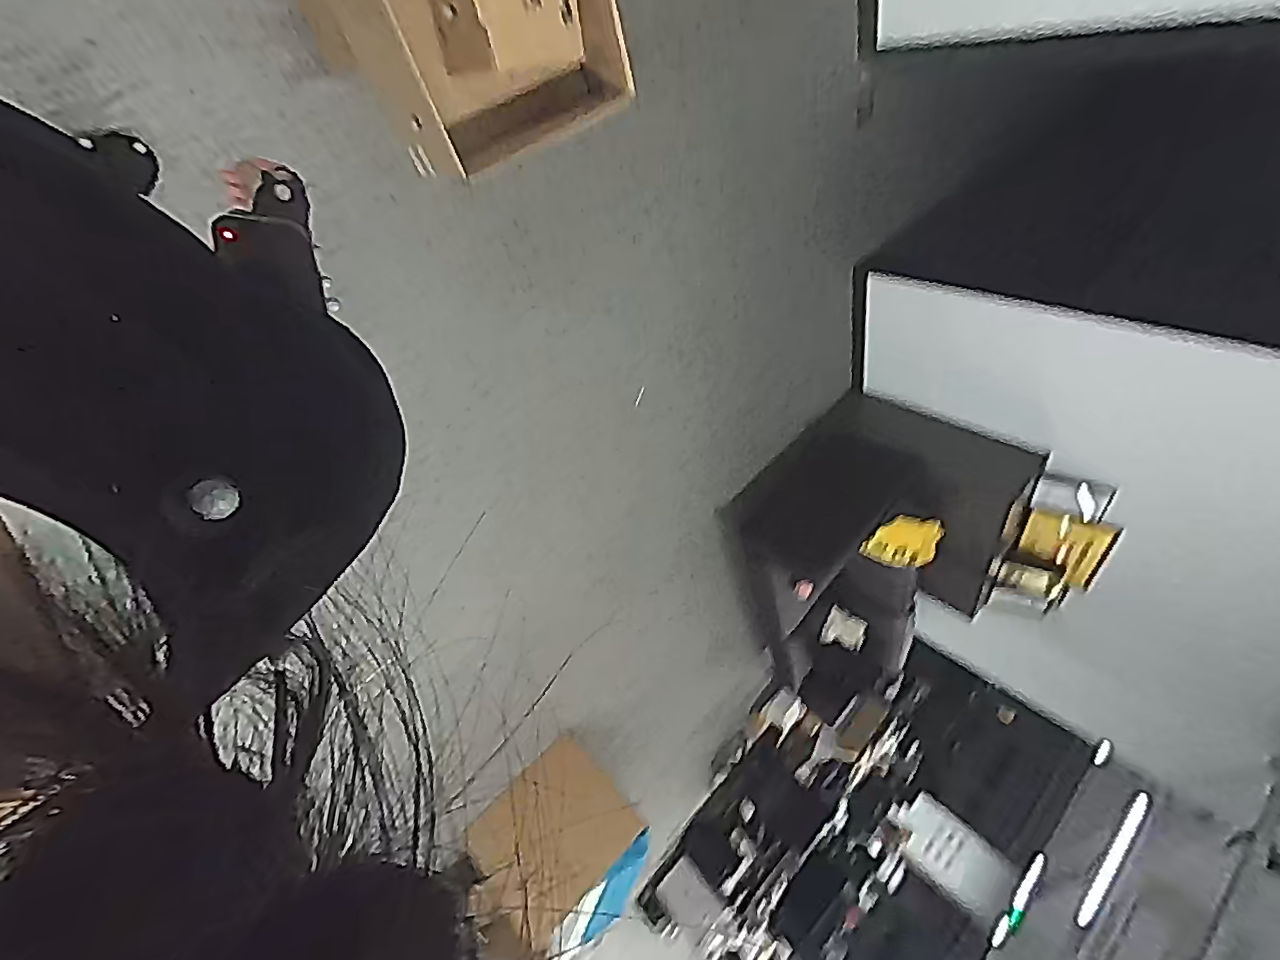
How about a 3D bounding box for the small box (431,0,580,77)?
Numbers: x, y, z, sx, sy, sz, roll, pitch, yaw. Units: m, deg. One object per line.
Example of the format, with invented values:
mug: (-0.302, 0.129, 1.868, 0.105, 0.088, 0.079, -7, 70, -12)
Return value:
small box: (-0.225, -0.761, 0.868, 0.179, 0.176, 0.168, -32, 135, -28)
